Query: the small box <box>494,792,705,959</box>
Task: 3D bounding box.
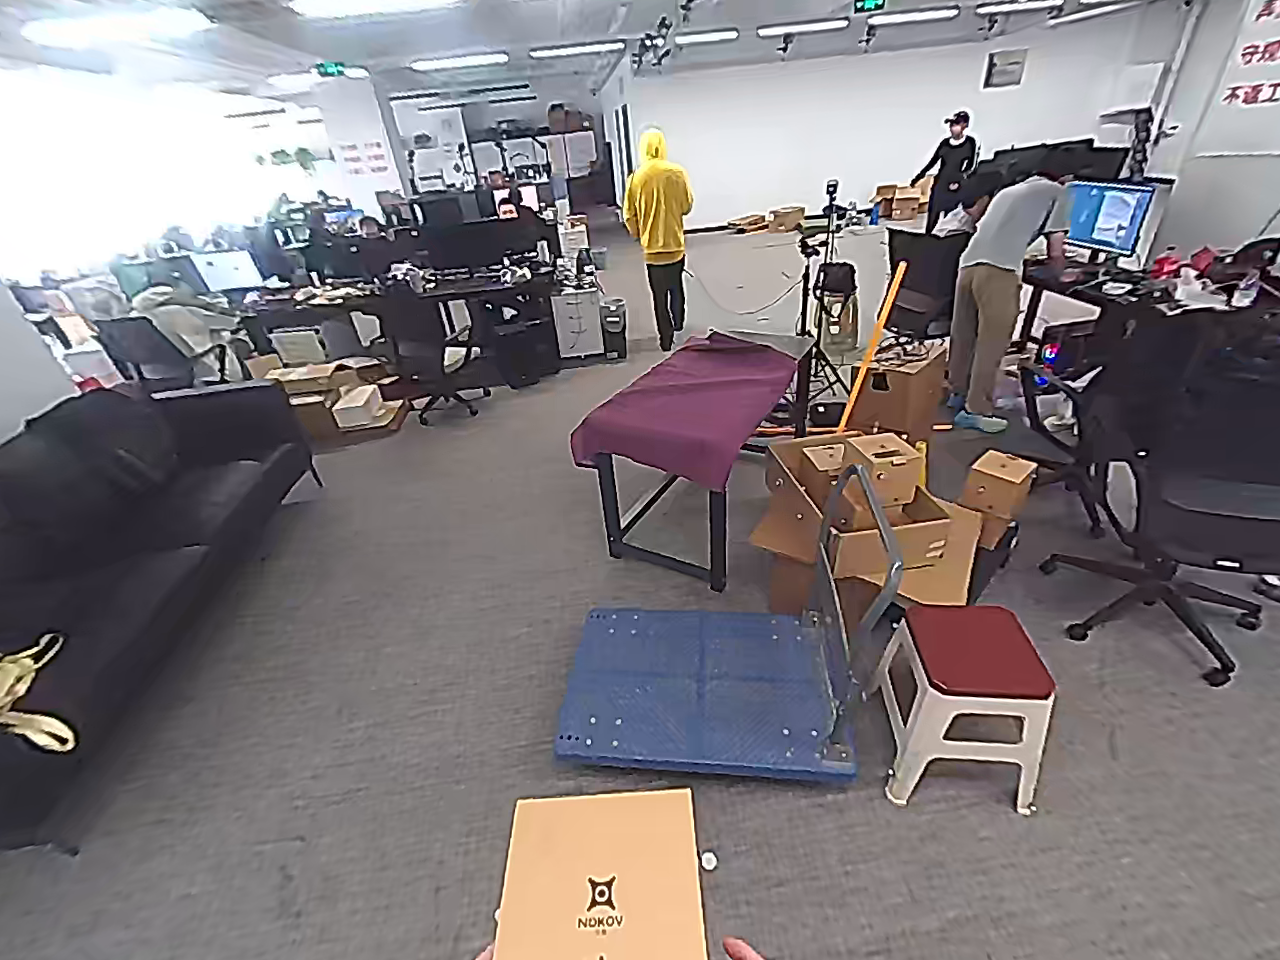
[{"bbox_3d":[-0.026,0.415,0.490,0.168,0.176,0.179,-4,36,2],"label":"small box"}]
